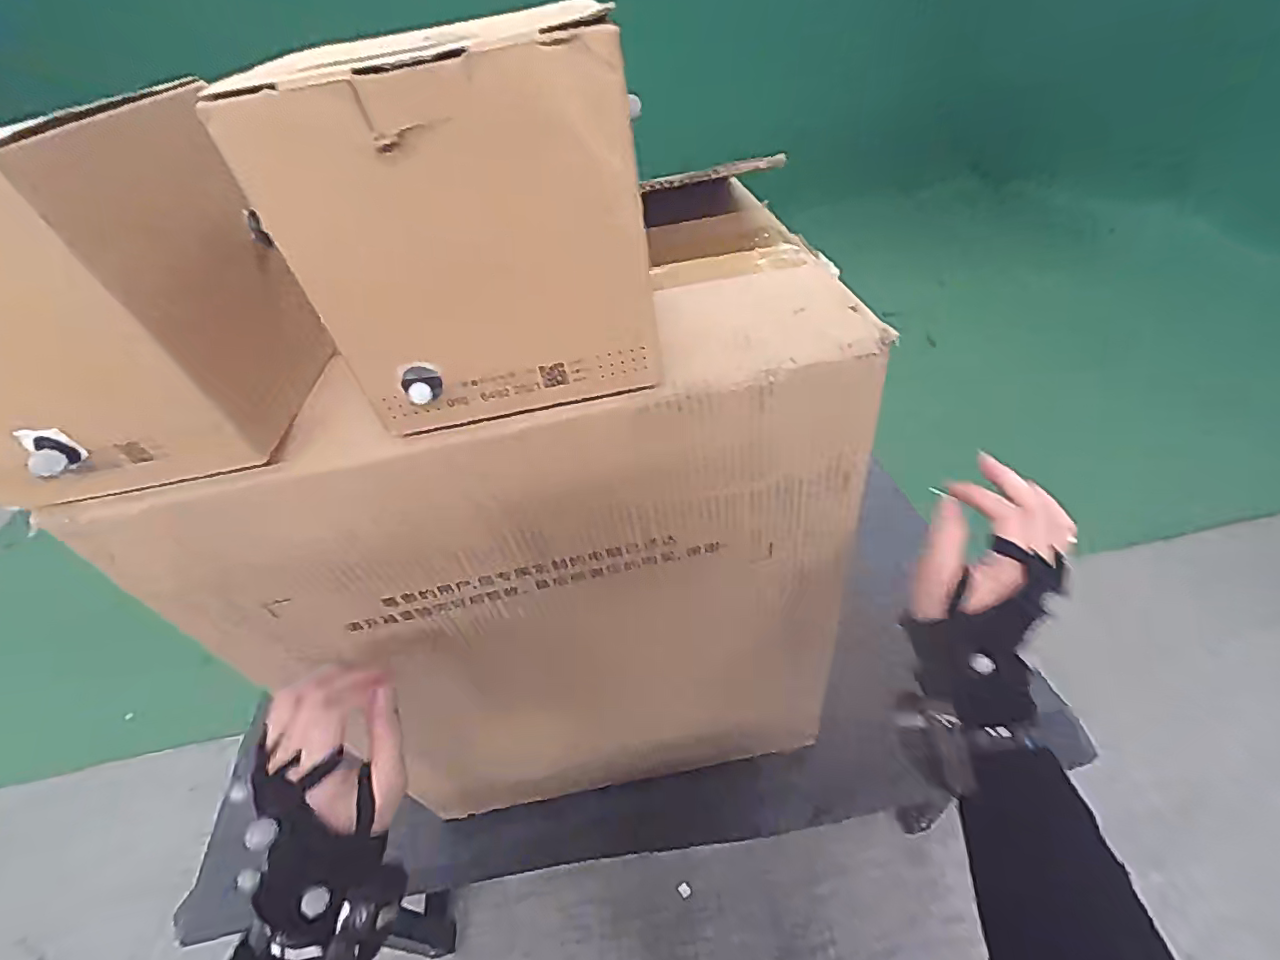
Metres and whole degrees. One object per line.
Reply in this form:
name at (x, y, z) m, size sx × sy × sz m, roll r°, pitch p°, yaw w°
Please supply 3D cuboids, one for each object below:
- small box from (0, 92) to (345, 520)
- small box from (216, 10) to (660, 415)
small box at (-0.313, -0.104, 0.327) m, size 0.168 × 0.176 × 0.179 m, roll -14°, pitch 44°, yaw 2°
small box at (-0.088, -0.154, 0.326) m, size 0.168 × 0.176 × 0.179 m, roll -12°, pitch 42°, yaw -1°
